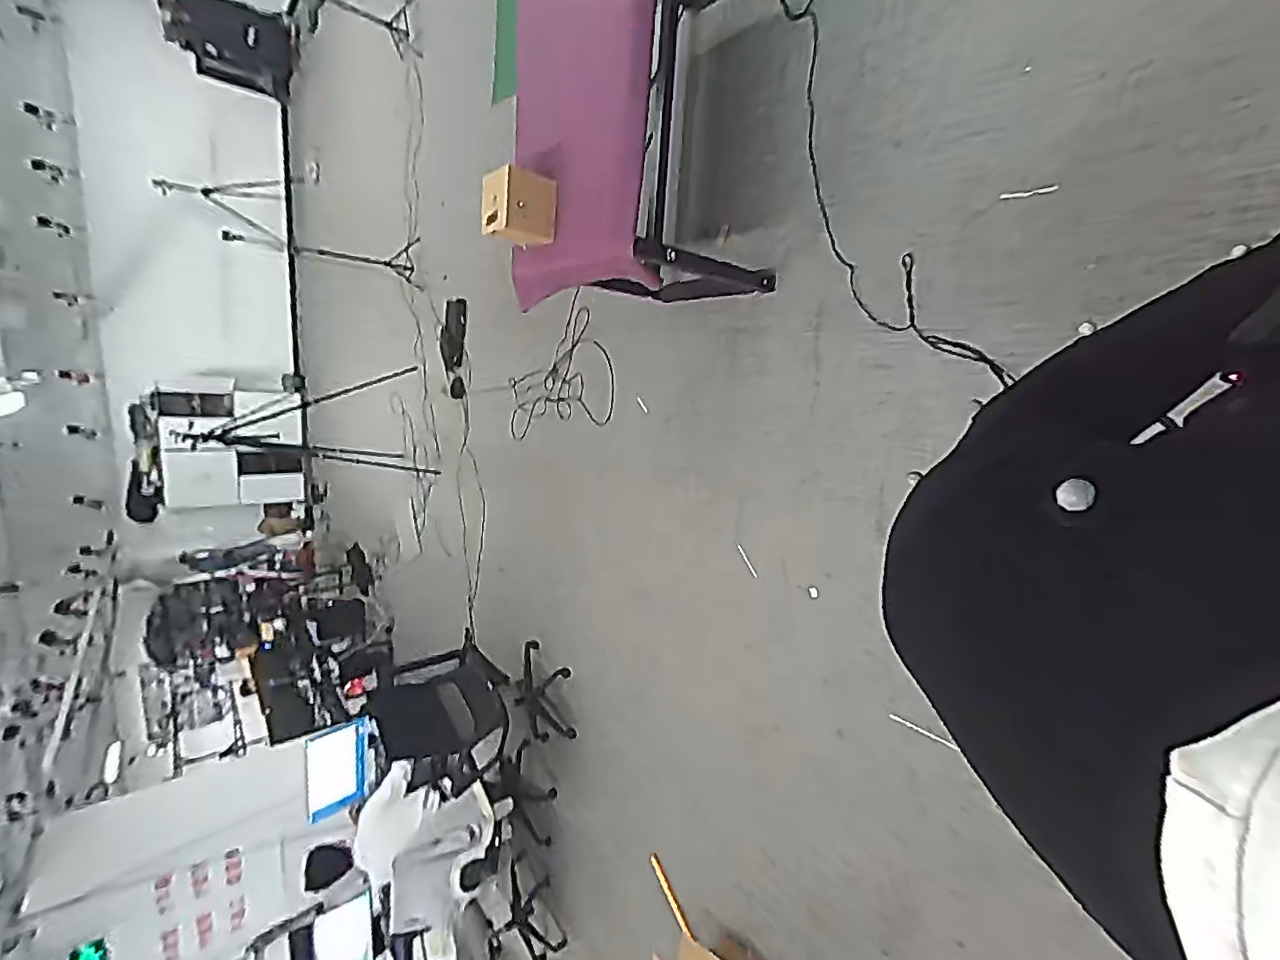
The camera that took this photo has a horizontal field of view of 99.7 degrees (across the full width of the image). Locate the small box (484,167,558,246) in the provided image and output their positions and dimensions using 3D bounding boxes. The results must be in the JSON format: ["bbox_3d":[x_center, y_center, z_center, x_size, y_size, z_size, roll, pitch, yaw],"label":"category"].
[{"bbox_3d":[-0.368,-0.833,1.670,0.168,0.176,0.179,16,106,47],"label":"small box"}]
